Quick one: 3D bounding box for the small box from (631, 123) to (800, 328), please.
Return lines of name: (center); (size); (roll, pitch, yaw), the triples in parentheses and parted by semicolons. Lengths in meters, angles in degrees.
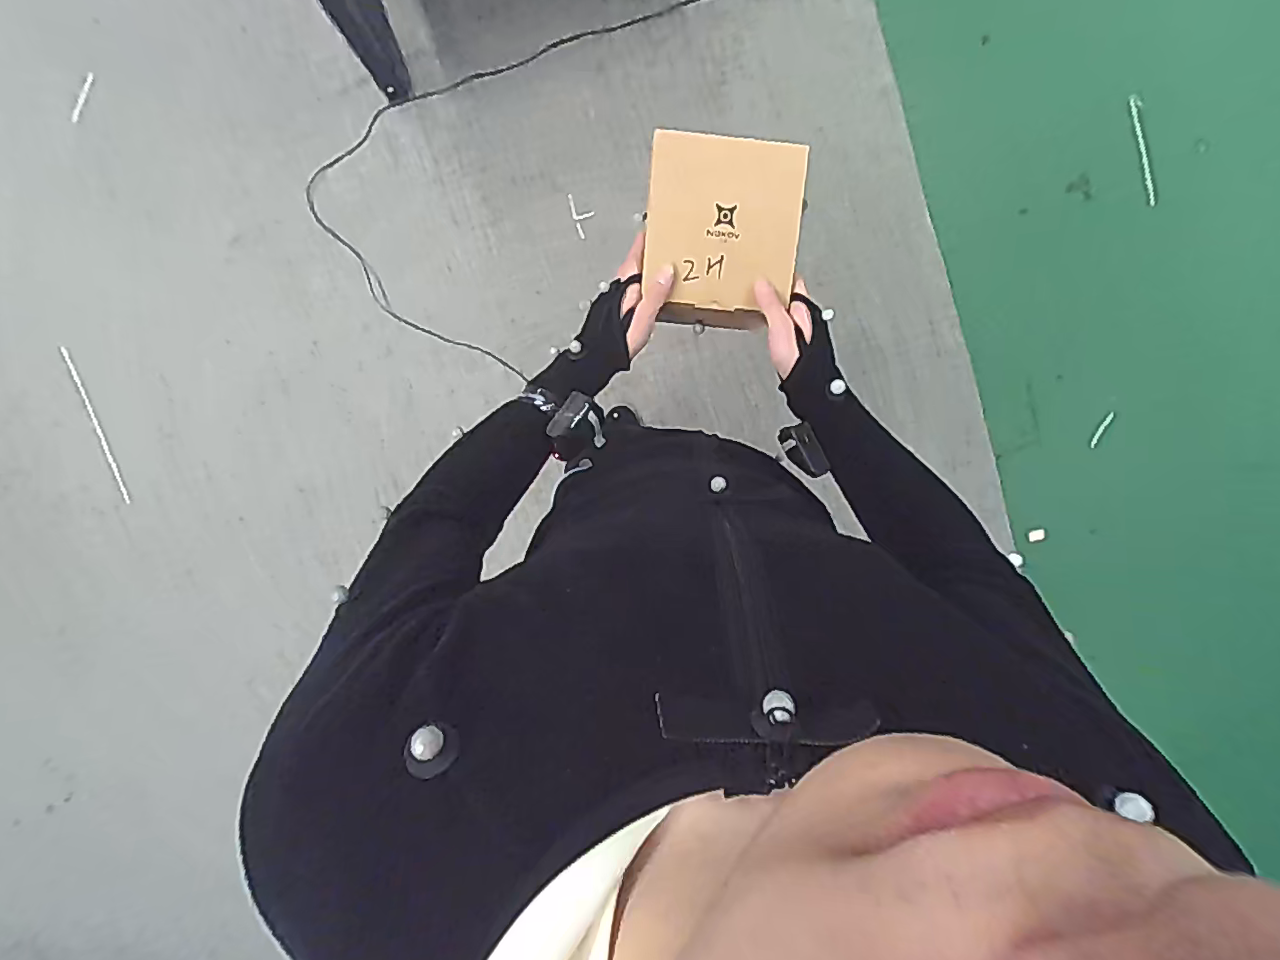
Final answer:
small box: (0.078, -0.290, 0.653); (0.168, 0.176, 0.179); (5, 100, -2)
